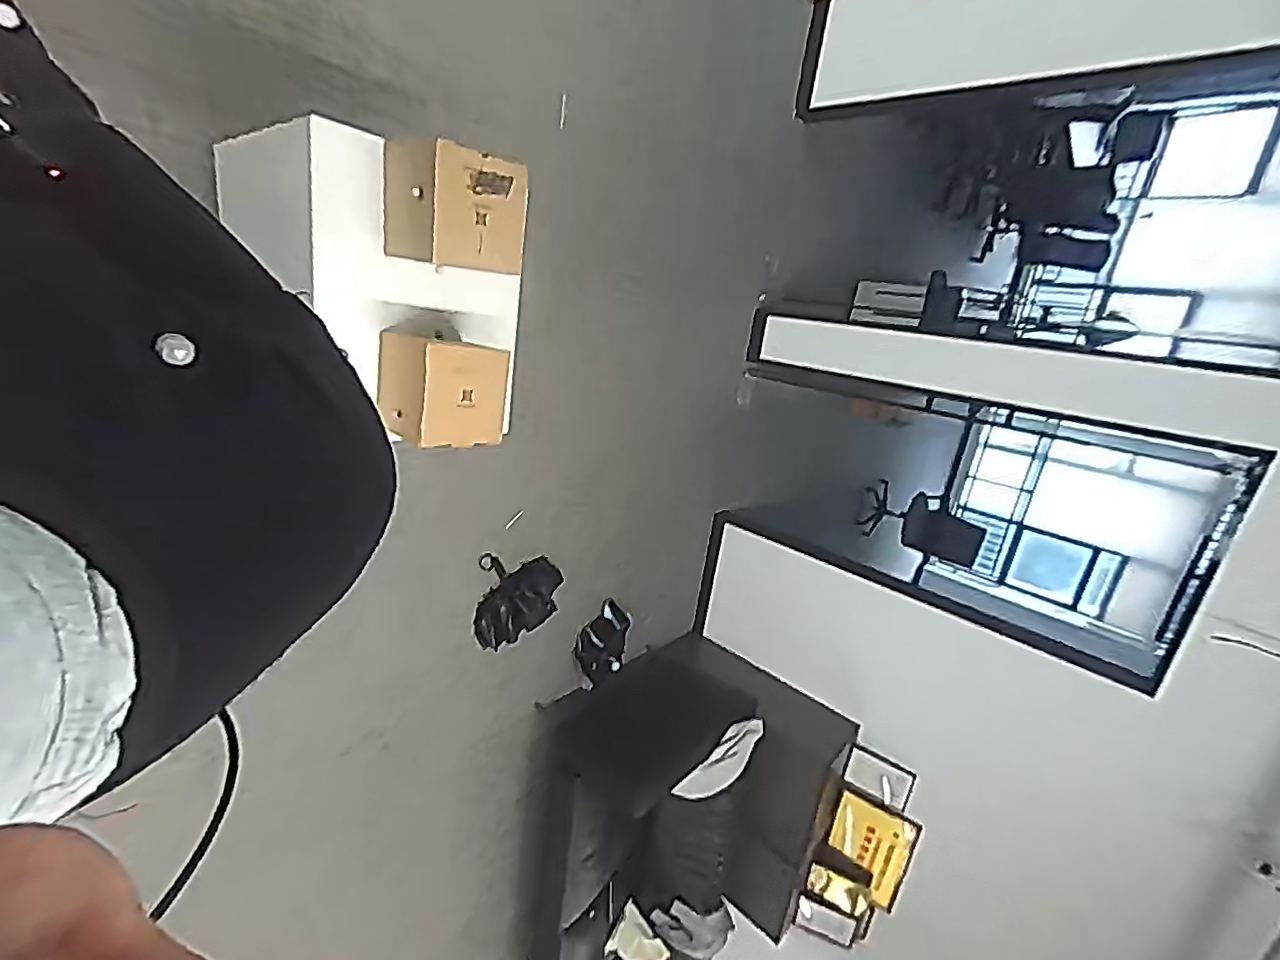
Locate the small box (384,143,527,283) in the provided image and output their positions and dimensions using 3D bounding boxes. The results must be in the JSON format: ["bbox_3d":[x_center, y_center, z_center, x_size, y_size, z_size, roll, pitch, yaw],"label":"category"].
[{"bbox_3d":[-0.310,-0.437,0.903,0.168,0.176,0.179,-13,119,-47],"label":"small box"}]

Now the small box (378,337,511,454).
[{"bbox_3d":[-0.359,-0.154,0.985,0.168,0.176,0.179,-8,112,-49],"label":"small box"}]
